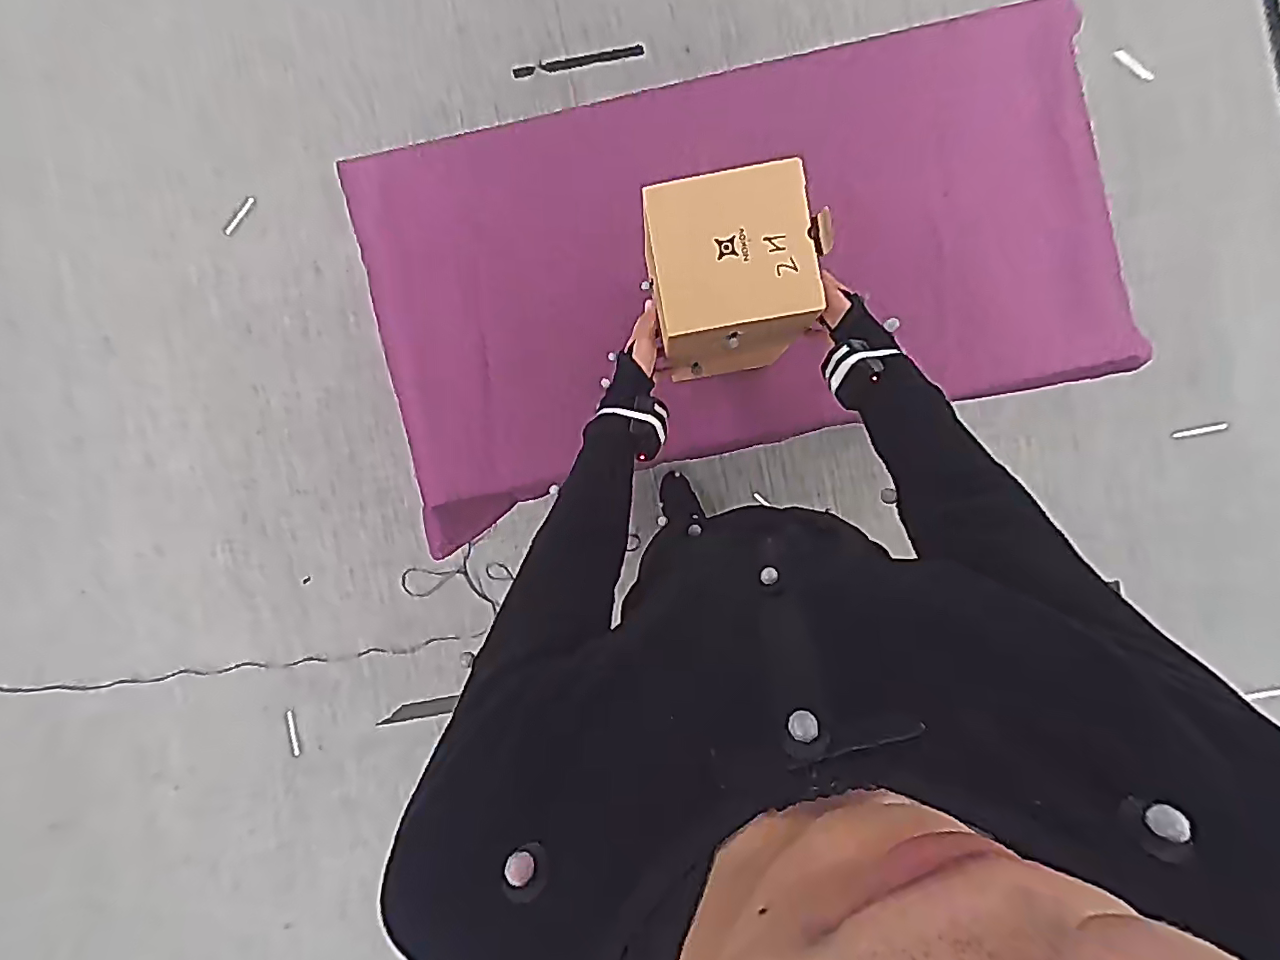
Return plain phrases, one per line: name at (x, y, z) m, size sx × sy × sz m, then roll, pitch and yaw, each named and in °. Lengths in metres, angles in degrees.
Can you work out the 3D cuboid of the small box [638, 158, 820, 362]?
small box at (0.098, -0.251, 0.659) m, size 0.179 × 0.176 × 0.168 m, roll -9°, pitch 90°, yaw 2°
